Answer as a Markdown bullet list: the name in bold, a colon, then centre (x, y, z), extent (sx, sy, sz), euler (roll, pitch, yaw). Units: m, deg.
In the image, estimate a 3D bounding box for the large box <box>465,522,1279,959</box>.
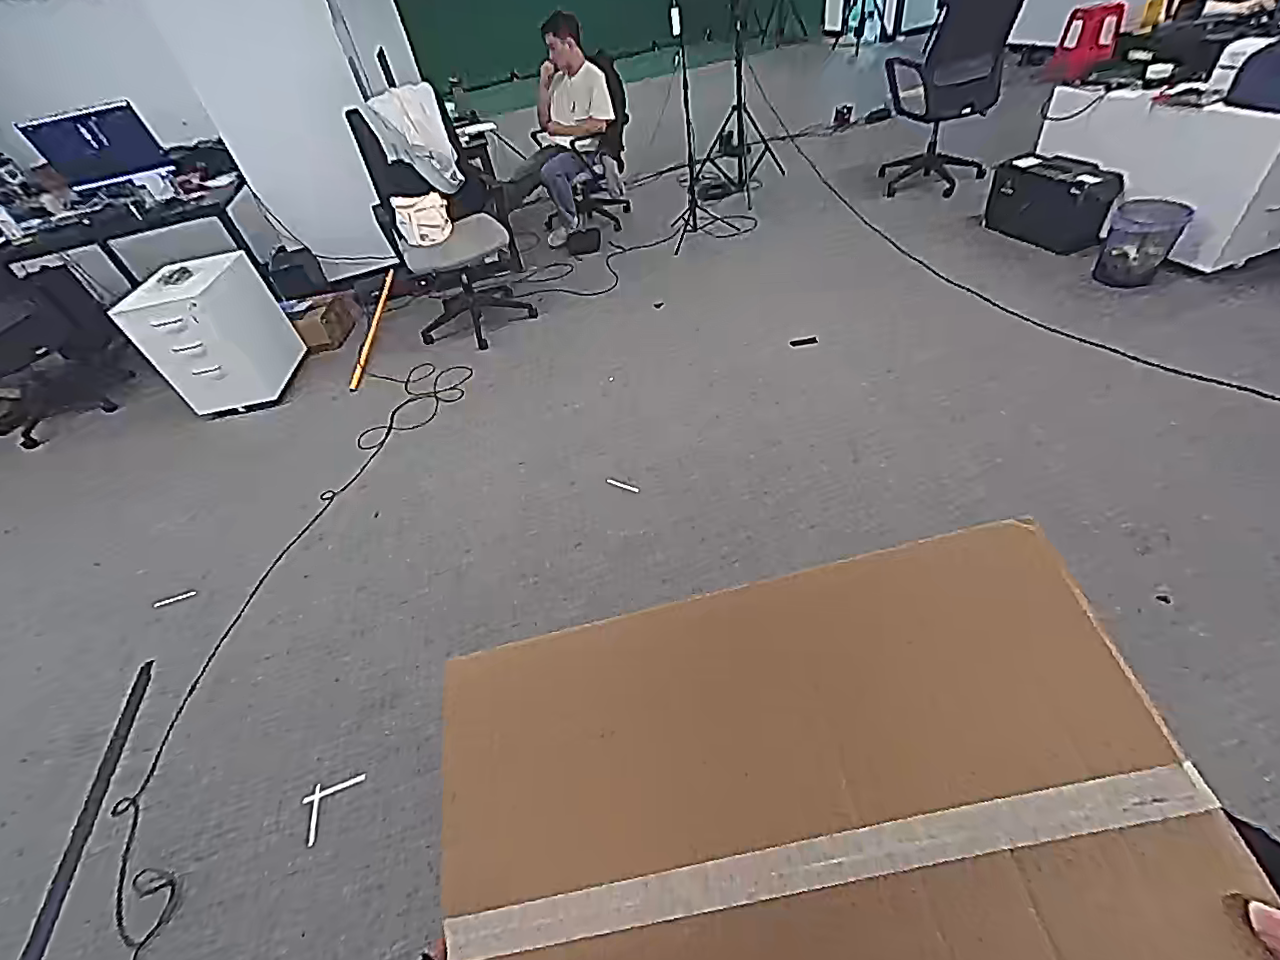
- **large box**: centre (0.121, 0.279, 0.424), extent (0.408, 0.320, 0.320), euler (-15, 60, 5)
